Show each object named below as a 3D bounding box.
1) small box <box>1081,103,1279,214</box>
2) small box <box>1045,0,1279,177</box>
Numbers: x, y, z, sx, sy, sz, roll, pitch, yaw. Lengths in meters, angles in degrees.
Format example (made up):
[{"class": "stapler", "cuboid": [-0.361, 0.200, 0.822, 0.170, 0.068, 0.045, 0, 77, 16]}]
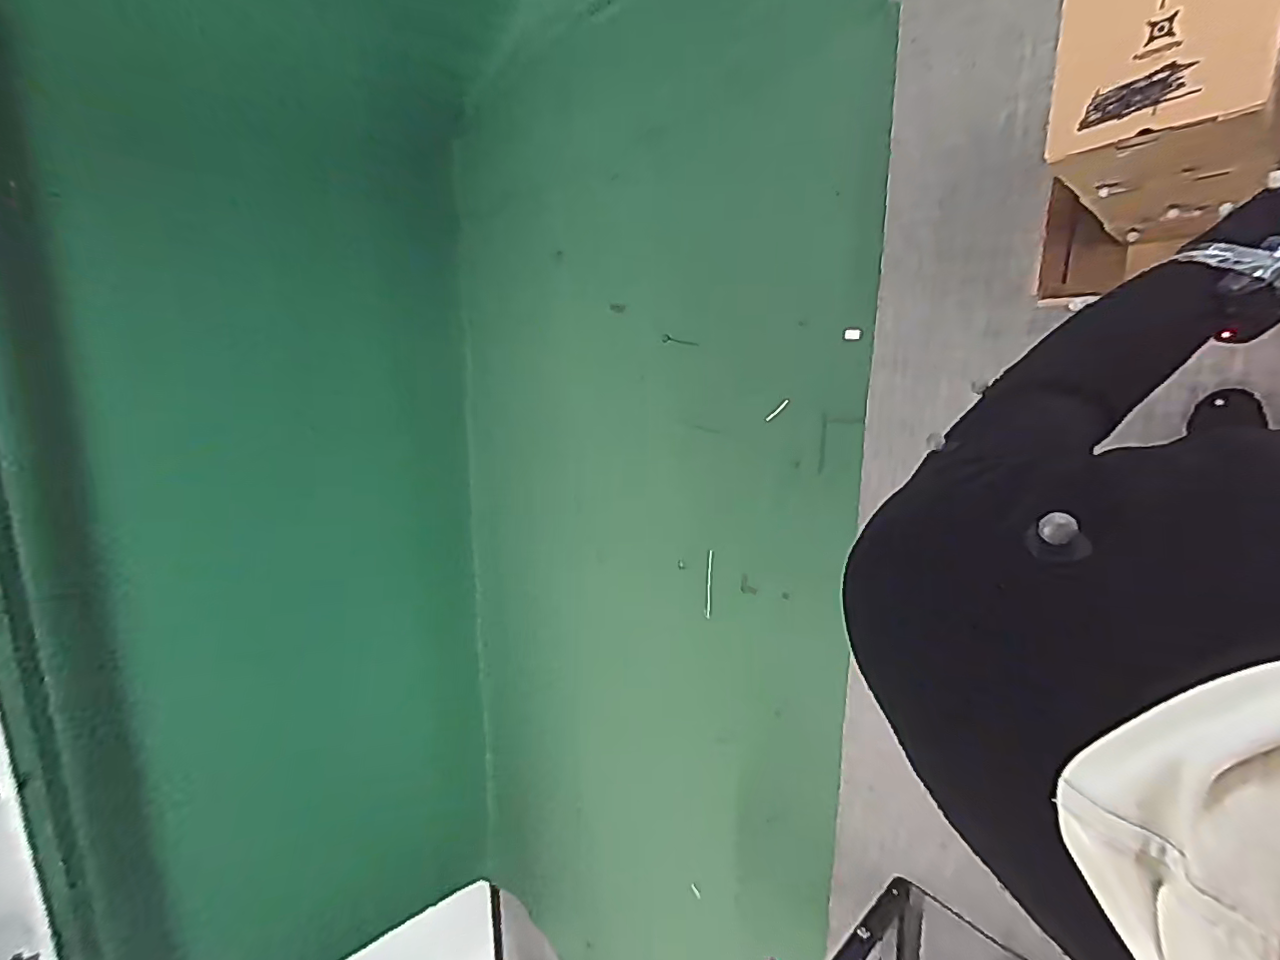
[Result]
[{"class": "small box", "cuboid": [0.683, -0.454, 0.672, 0.168, 0.176, 0.179, 13, 107, 48]}, {"class": "small box", "cuboid": [0.556, -0.441, 0.567, 0.168, 0.176, 0.179, 11, 104, 47]}]
